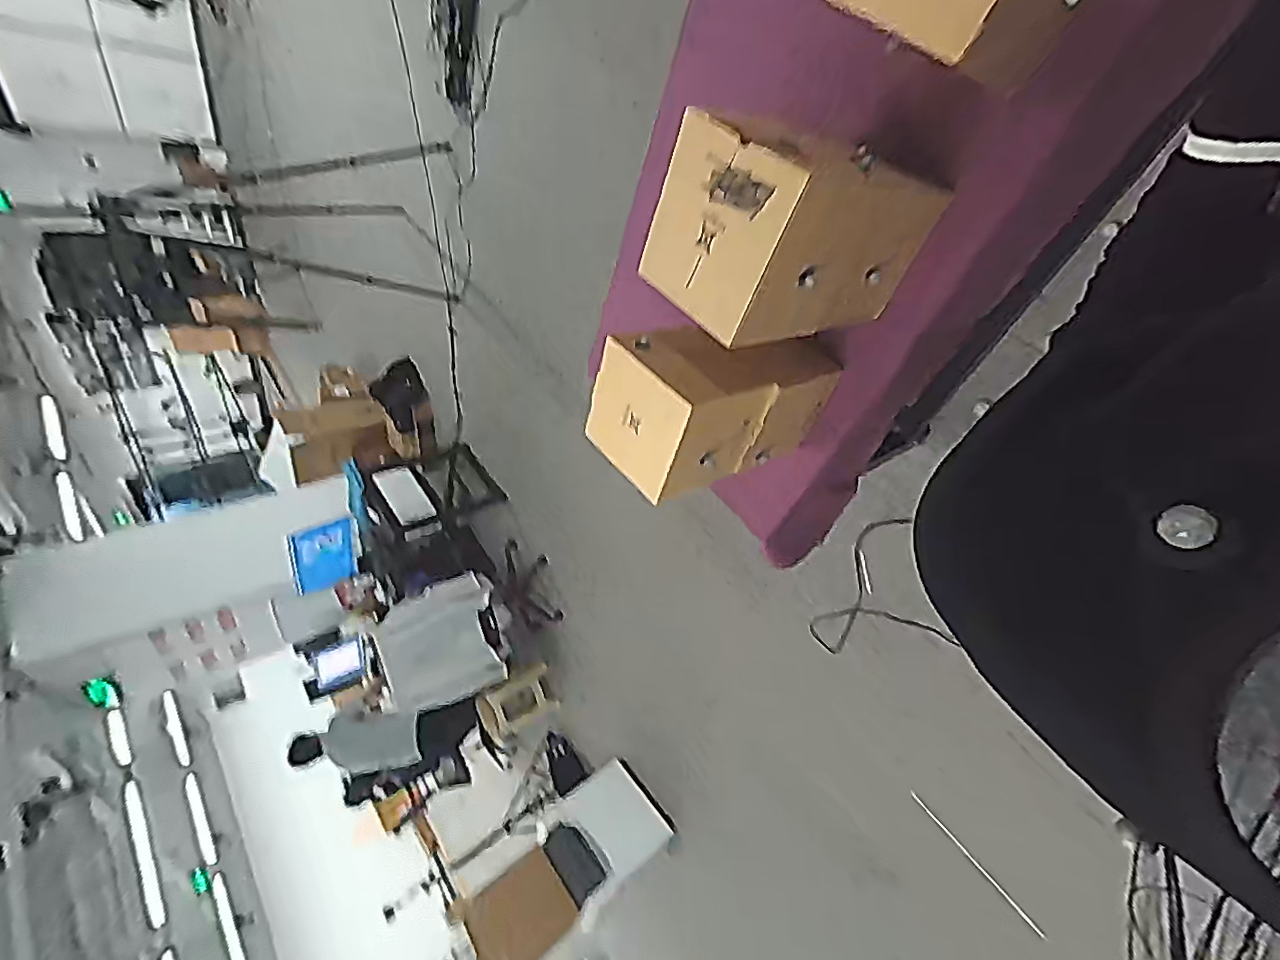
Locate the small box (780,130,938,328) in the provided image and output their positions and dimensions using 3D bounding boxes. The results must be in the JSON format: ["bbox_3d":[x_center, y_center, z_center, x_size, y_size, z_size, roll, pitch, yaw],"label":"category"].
[{"bbox_3d":[0.249,-0.325,0.712,0.168,0.176,0.179,48,137,27],"label":"small box"}]

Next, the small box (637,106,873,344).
[{"bbox_3d":[0.129,-0.280,0.609,0.168,0.176,0.179,49,137,26],"label":"small box"}]

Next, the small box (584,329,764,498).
[{"bbox_3d":[0.047,-0.107,0.785,0.179,0.176,0.168,46,136,30],"label":"small box"}]

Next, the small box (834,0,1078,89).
[{"bbox_3d":[0.328,-0.520,0.531,0.179,0.176,0.168,52,139,23],"label":"small box"}]
